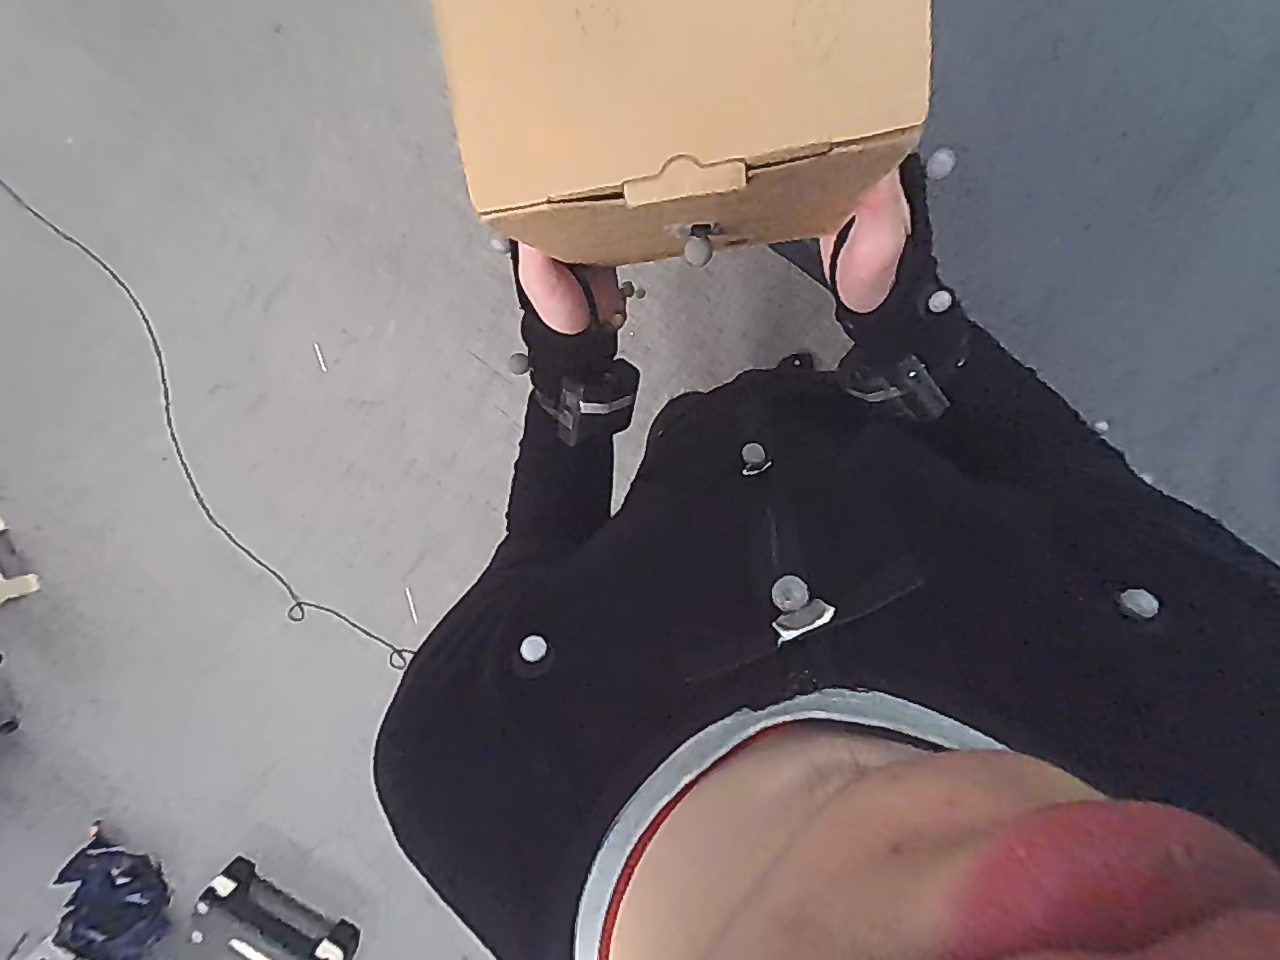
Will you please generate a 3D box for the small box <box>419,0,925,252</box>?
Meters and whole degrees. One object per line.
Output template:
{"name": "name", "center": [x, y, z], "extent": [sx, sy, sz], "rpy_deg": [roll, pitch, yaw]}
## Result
{"name": "small box", "center": [0.014, -0.208, 0.243], "extent": [0.168, 0.176, 0.179], "rpy_deg": [-5, 105, 9]}
